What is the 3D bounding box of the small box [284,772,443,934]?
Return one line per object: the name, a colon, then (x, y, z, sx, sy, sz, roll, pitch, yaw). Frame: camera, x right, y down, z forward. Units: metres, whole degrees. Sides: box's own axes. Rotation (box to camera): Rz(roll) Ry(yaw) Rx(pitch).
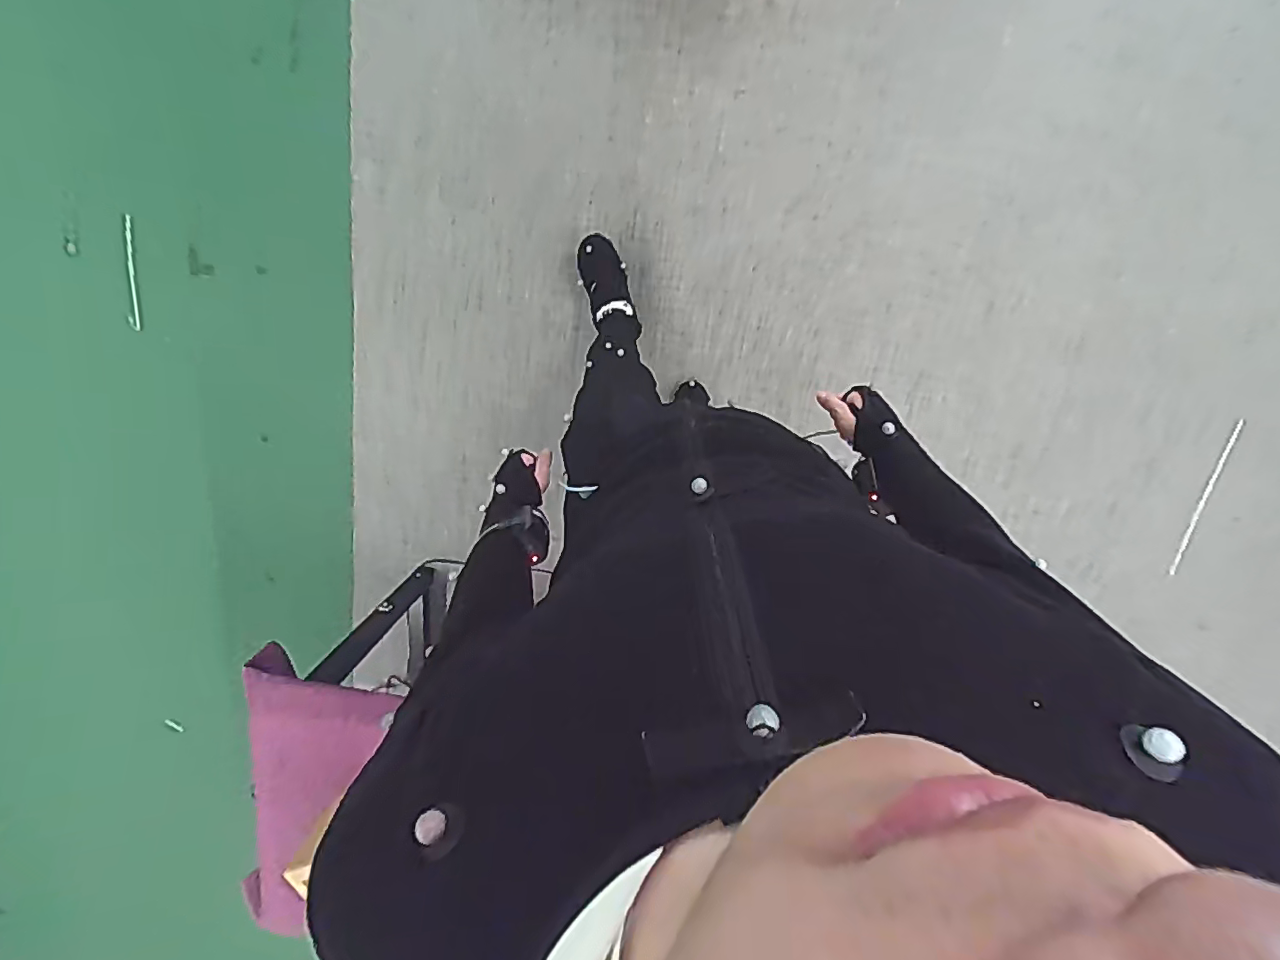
small box: (-0.516, 0.706, 1.036, 0.179, 0.176, 0.168, -25, 104, 9)
